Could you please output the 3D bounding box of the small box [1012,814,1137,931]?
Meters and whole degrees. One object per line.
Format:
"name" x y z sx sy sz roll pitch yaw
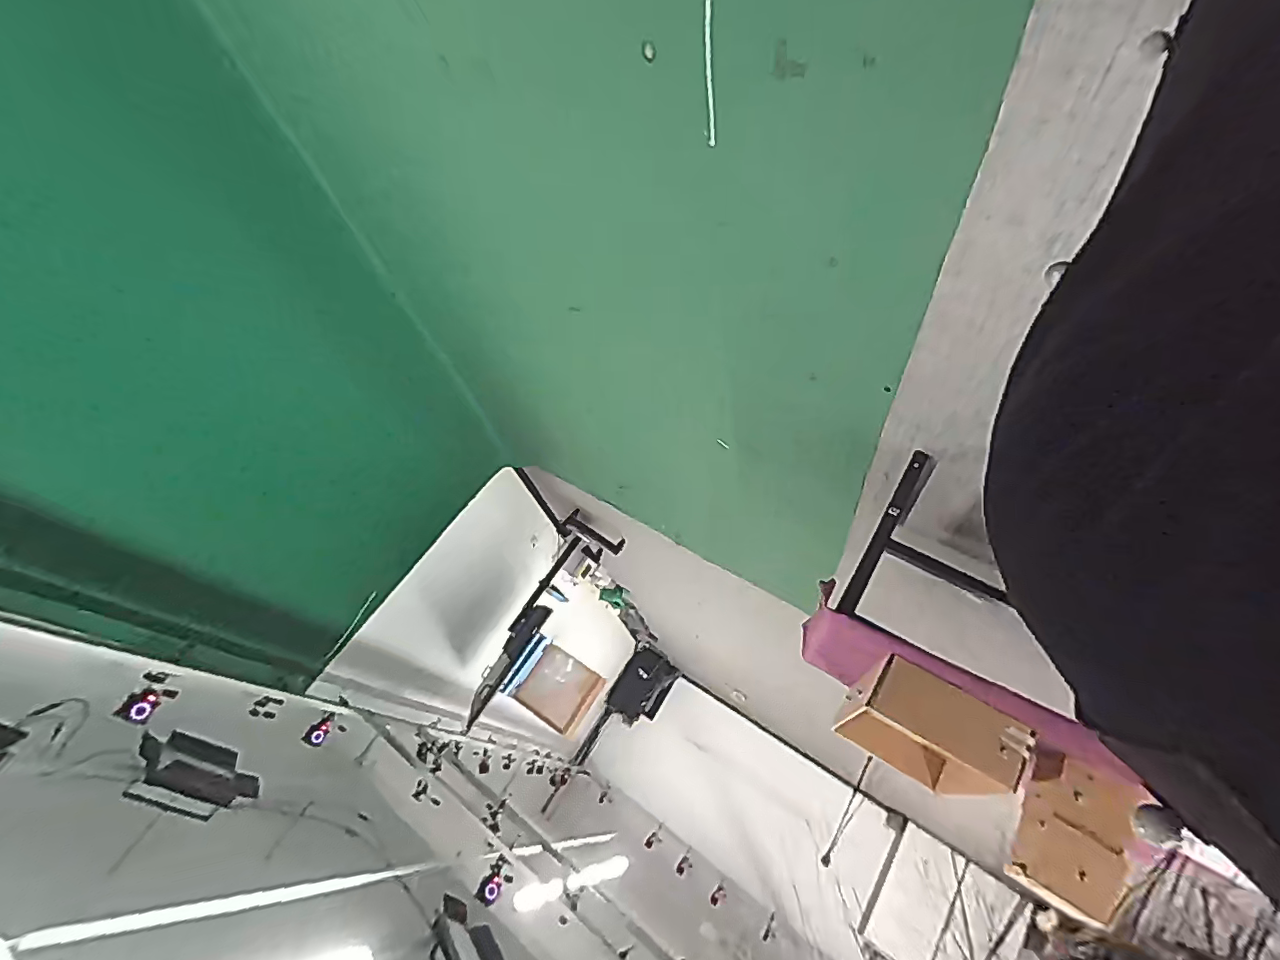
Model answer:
"small box" 1.102 0.984 1.377 0.179 0.176 0.168 28 159 23

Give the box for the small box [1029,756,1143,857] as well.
"small box" 1.190 0.862 1.444 0.168 0.176 0.179 28 160 23
